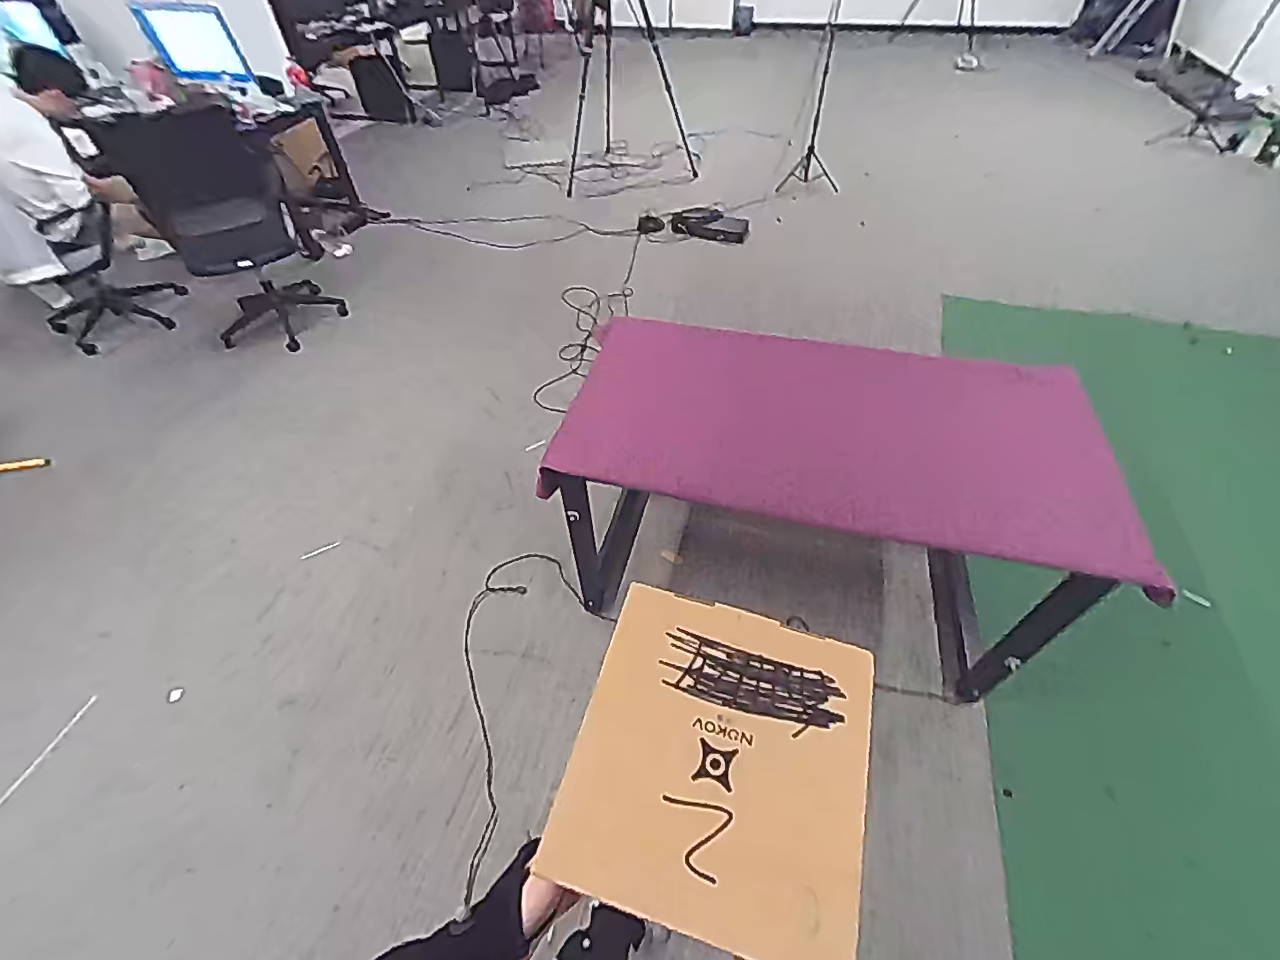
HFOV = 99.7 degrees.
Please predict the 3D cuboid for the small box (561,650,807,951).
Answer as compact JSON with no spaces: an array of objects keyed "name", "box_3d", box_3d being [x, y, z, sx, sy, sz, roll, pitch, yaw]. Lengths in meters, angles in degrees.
[{"name":"small box","box_3d":[0.043,0.292,0.506,0.168,0.176,0.179,15,55,10]}]
